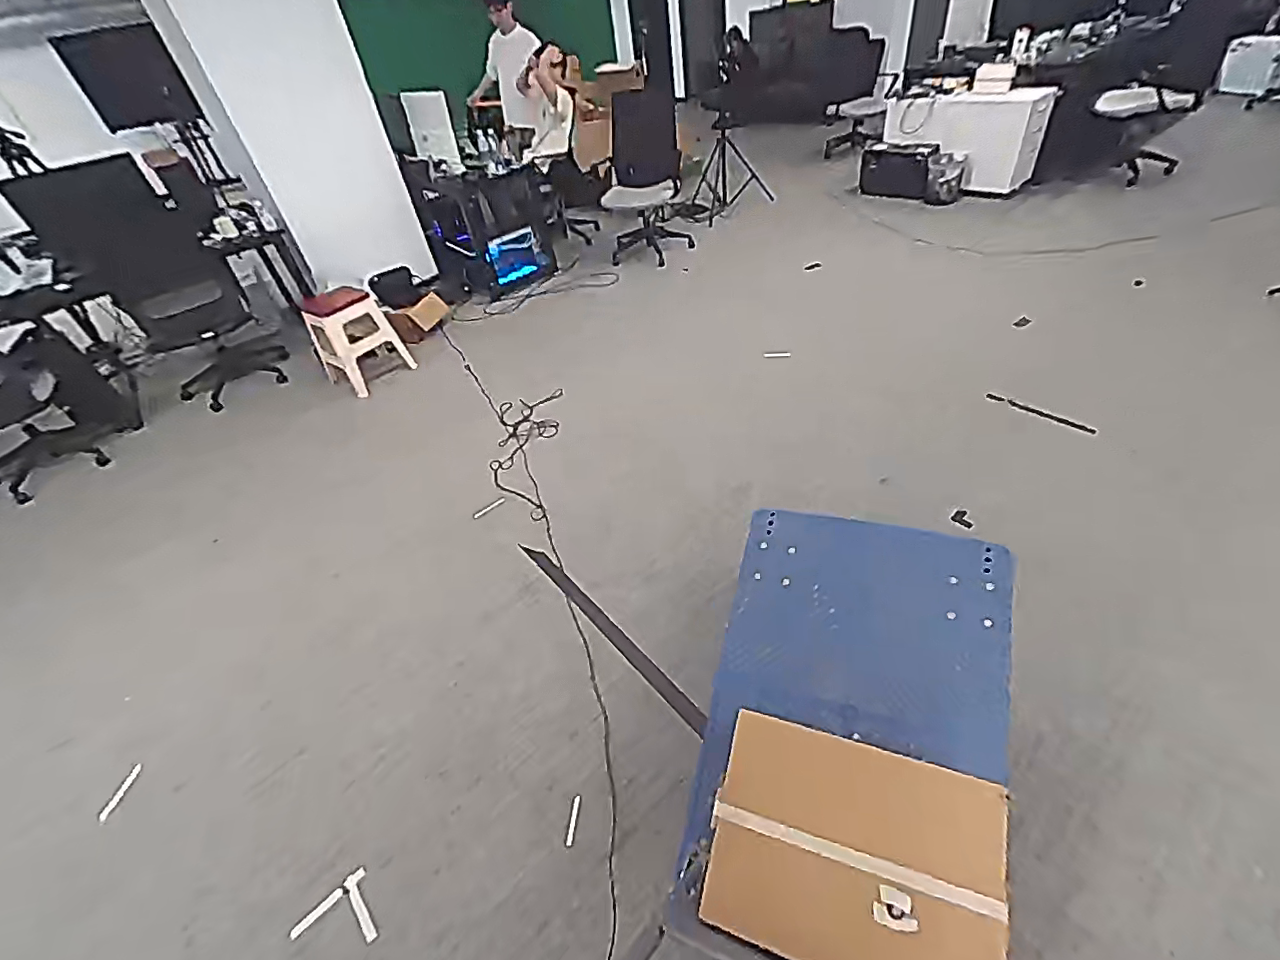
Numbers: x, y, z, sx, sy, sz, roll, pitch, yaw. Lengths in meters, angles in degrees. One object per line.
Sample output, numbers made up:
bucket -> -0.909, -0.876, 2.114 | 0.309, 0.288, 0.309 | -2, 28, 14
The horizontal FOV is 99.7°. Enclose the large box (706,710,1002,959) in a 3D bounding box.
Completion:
large box -> 0.360, 0.627, 0.959 | 0.408, 0.320, 0.320 | 9, 69, 21
